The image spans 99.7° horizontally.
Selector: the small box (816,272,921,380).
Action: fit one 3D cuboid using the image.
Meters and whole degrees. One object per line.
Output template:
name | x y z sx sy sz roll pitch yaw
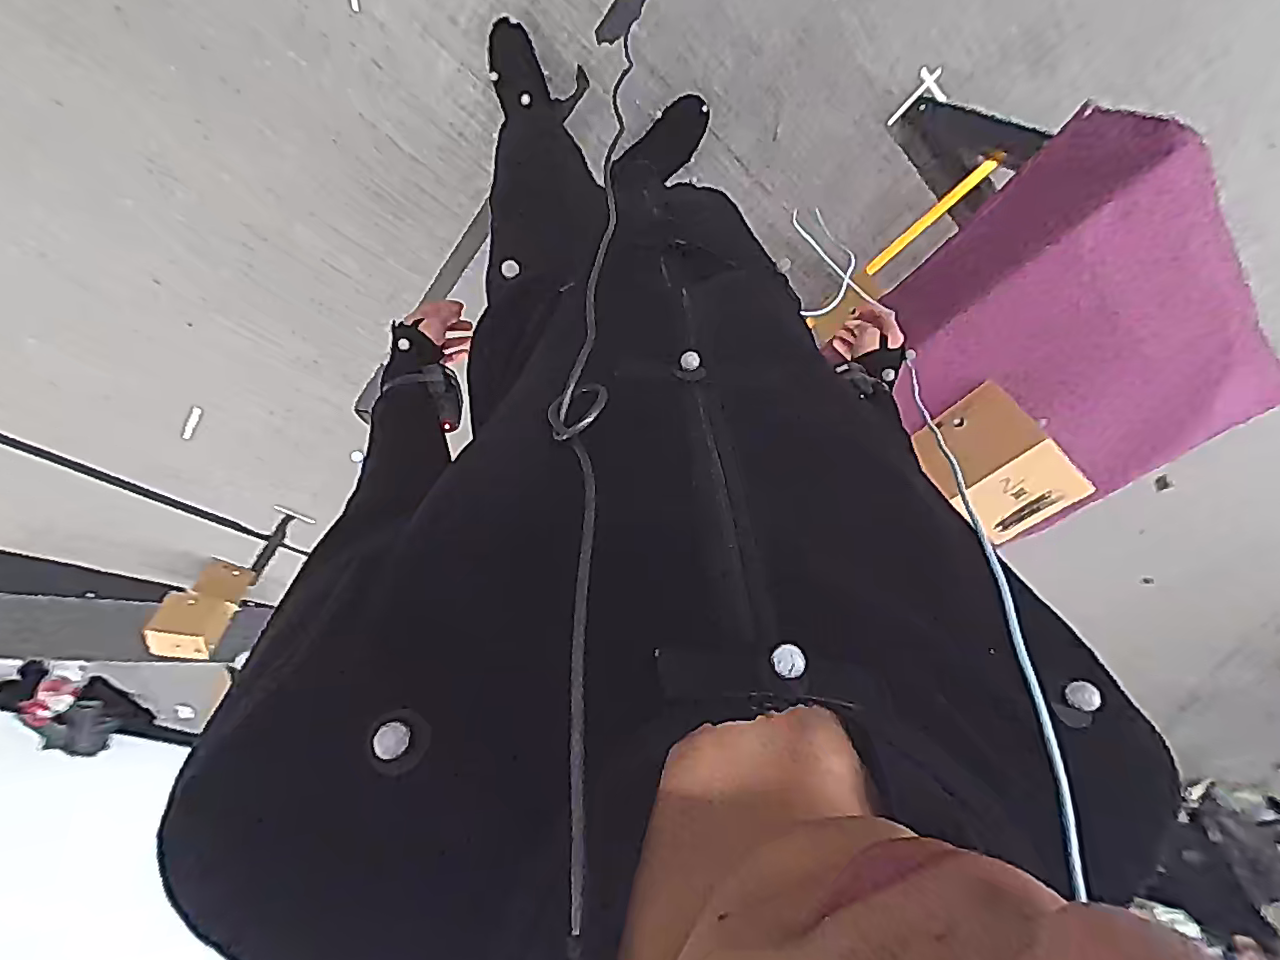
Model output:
small box | 0.586 -0.403 1.417 0.168 0.176 0.179 30 123 -27
